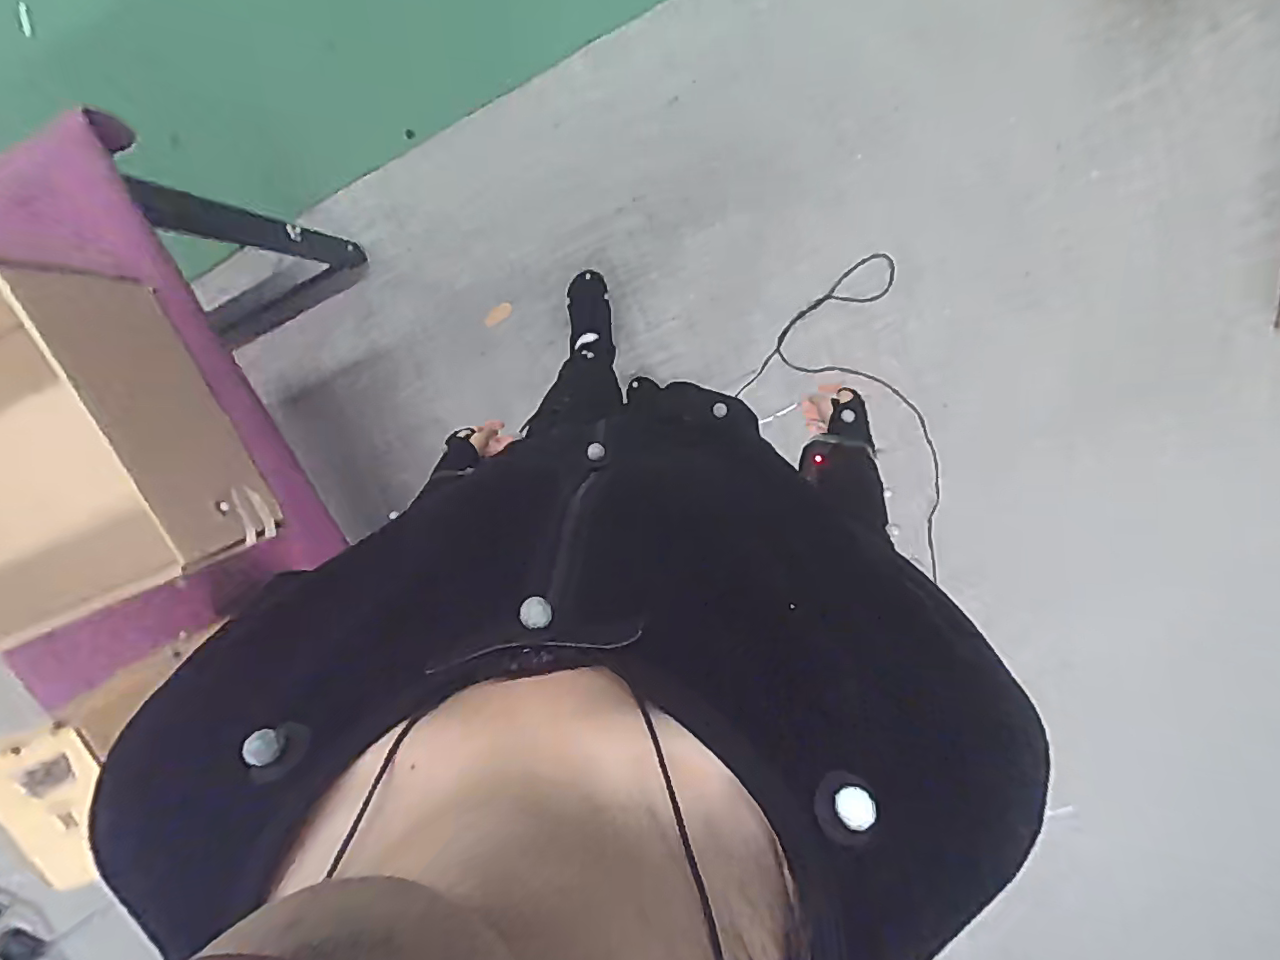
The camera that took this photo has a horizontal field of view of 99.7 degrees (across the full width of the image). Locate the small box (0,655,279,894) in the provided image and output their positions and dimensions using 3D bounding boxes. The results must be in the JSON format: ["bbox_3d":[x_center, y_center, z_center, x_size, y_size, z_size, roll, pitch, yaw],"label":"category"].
[{"bbox_3d":[-0.592,0.333,0.646,0.168,0.176,0.179,-21,101,10],"label":"small box"}]

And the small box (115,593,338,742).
[{"bbox_3d":[-0.590,0.292,0.804,0.179,0.176,0.168,-21,101,10],"label":"small box"}]
